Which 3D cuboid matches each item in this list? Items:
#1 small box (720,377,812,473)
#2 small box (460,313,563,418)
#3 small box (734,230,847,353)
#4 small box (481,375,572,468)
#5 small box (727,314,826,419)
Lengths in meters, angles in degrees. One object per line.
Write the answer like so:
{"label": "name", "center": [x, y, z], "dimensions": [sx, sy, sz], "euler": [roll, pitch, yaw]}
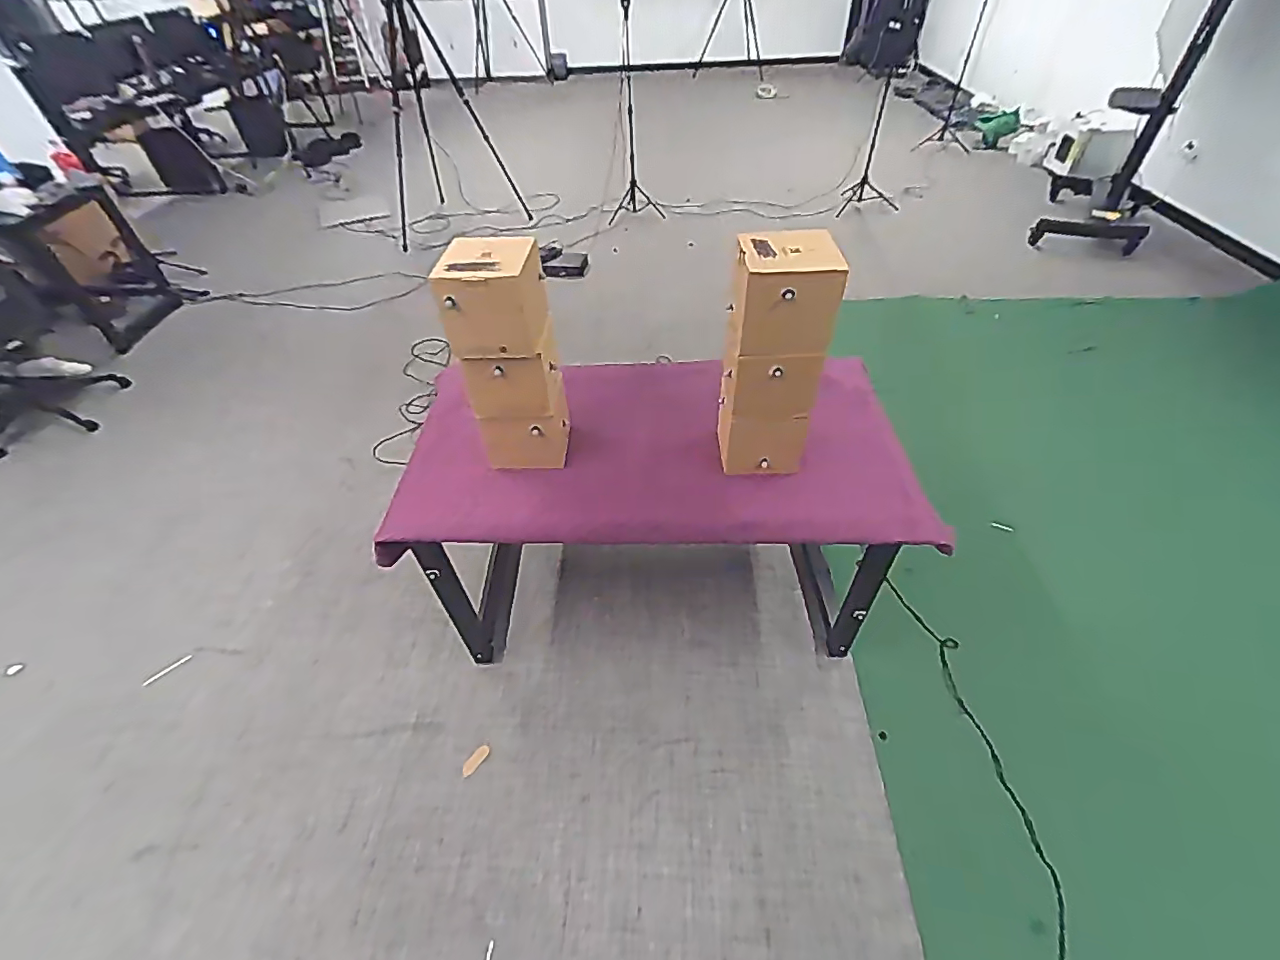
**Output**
{"label": "small box", "center": [0.288, -0.130, 1.273], "dimensions": [0.179, 0.176, 0.168], "euler": [-2, 46, 2]}
{"label": "small box", "center": [-0.272, -0.251, 1.200], "dimensions": [0.179, 0.176, 0.168], "euler": [-1, 47, 3]}
{"label": "small box", "center": [0.276, -0.358, 1.038], "dimensions": [0.179, 0.176, 0.168], "euler": [-2, 47, 2]}
{"label": "small box", "center": [-0.266, -0.141, 1.318], "dimensions": [0.179, 0.176, 0.168], "euler": [0, 46, 3]}
{"label": "small box", "center": [0.281, -0.244, 1.156], "dimensions": [0.179, 0.176, 0.168], "euler": [-1, 47, 3]}
